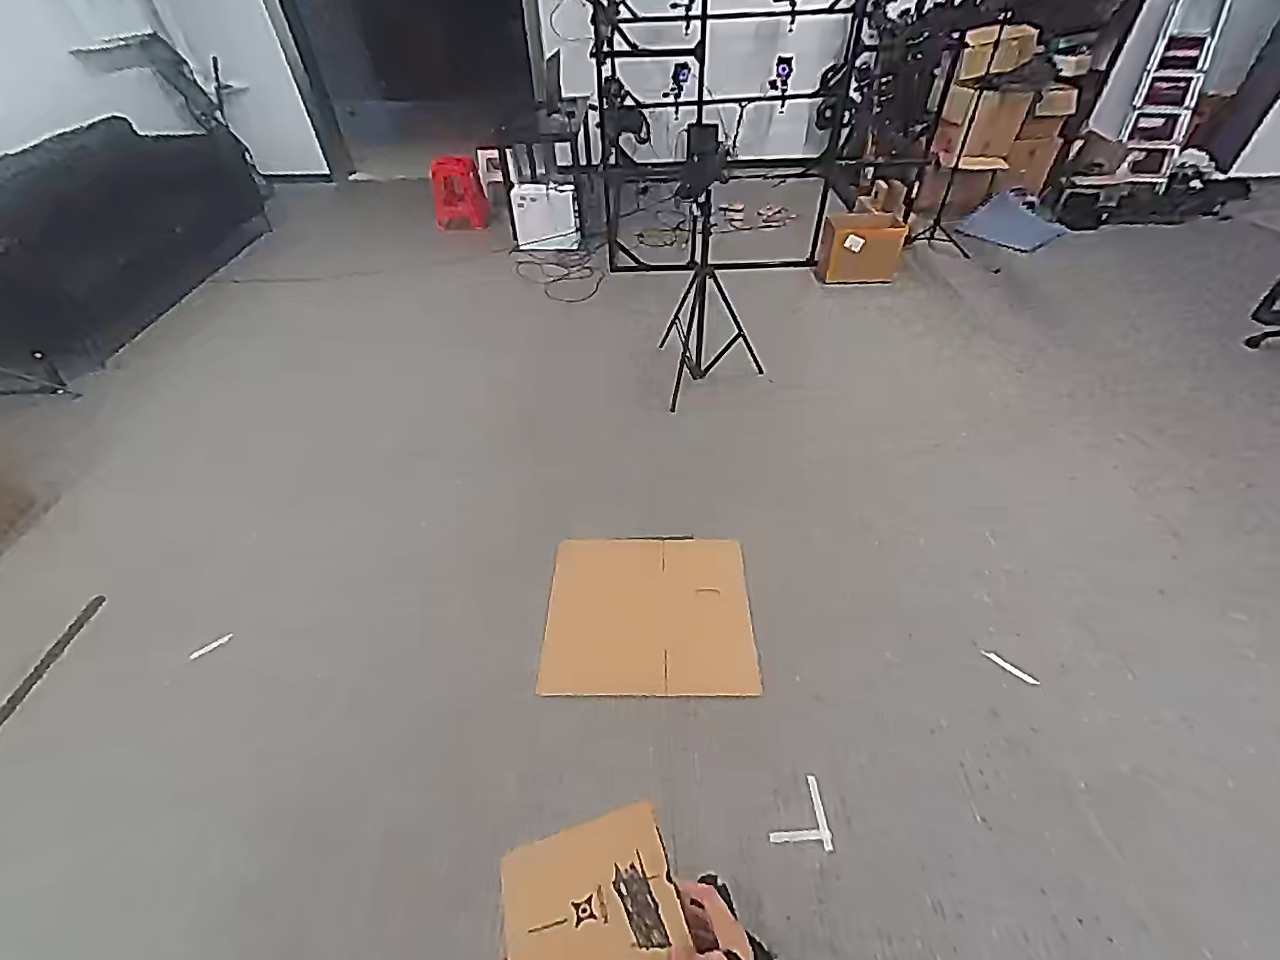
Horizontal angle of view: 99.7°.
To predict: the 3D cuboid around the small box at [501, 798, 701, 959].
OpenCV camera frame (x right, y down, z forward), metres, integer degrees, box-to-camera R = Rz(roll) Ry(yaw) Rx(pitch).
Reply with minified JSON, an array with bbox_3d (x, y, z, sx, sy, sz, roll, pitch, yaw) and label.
[{"bbox_3d":[-0.041,0.495,0.588,0.179,0.176,0.168,-14,32,-11],"label":"small box"}]
